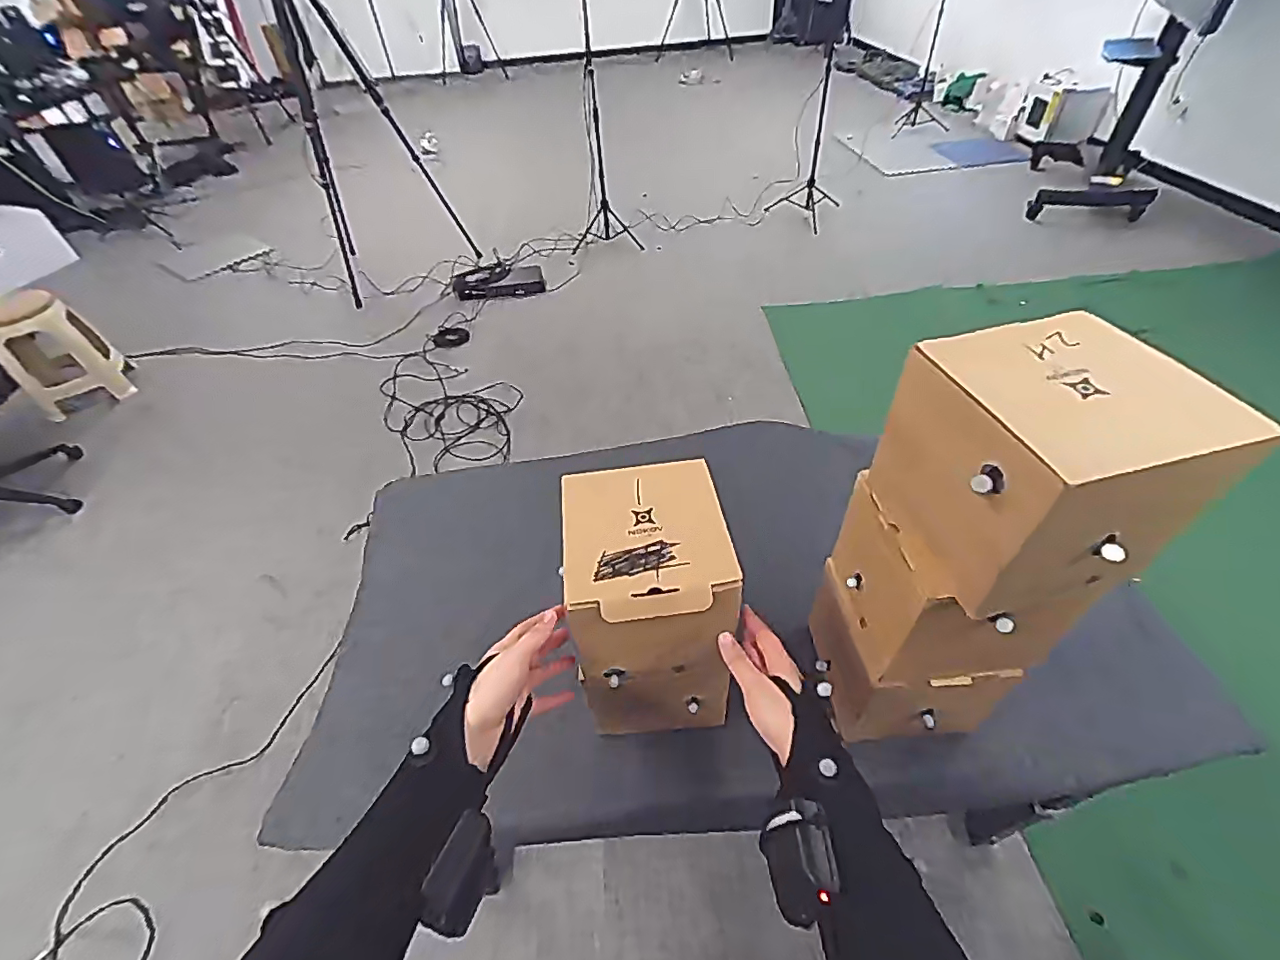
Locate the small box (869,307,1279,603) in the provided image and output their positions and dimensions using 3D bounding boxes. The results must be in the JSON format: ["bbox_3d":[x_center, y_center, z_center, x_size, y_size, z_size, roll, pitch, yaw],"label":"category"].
[{"bbox_3d":[0.323,-0.016,0.455,0.168,0.176,0.179,-13,45,-6],"label":"small box"}]

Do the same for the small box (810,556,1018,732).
[{"bbox_3d":[0.329,0.209,0.694,0.168,0.176,0.179,-5,46,1],"label":"small box"}]

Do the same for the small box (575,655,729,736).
[{"bbox_3d":[0.015,0.221,0.717,0.179,0.176,0.168,-6,45,1],"label":"small box"}]

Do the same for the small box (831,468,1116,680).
[{"bbox_3d":[0.327,0.094,0.578,0.179,0.176,0.168,-7,45,0],"label":"small box"}]

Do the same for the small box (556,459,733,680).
[{"bbox_3d":[0.003,0.104,0.601,0.168,0.176,0.179,-8,43,-3],"label":"small box"}]
